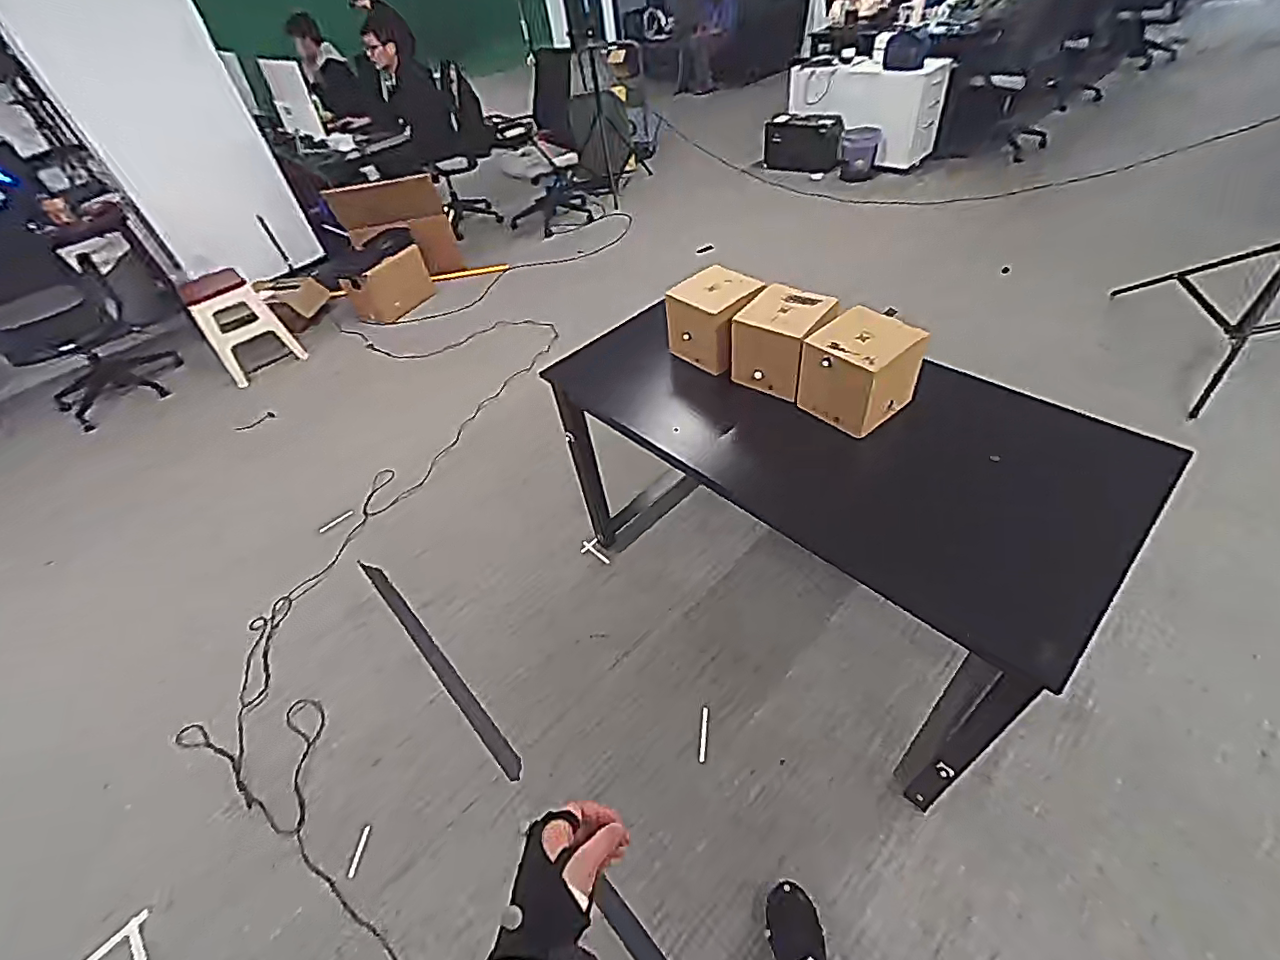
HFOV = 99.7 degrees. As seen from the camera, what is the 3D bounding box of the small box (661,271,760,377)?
[{"bbox_3d":[0.175,-0.380,1.324,0.179,0.176,0.168,-36,51,-23],"label":"small box"}]
